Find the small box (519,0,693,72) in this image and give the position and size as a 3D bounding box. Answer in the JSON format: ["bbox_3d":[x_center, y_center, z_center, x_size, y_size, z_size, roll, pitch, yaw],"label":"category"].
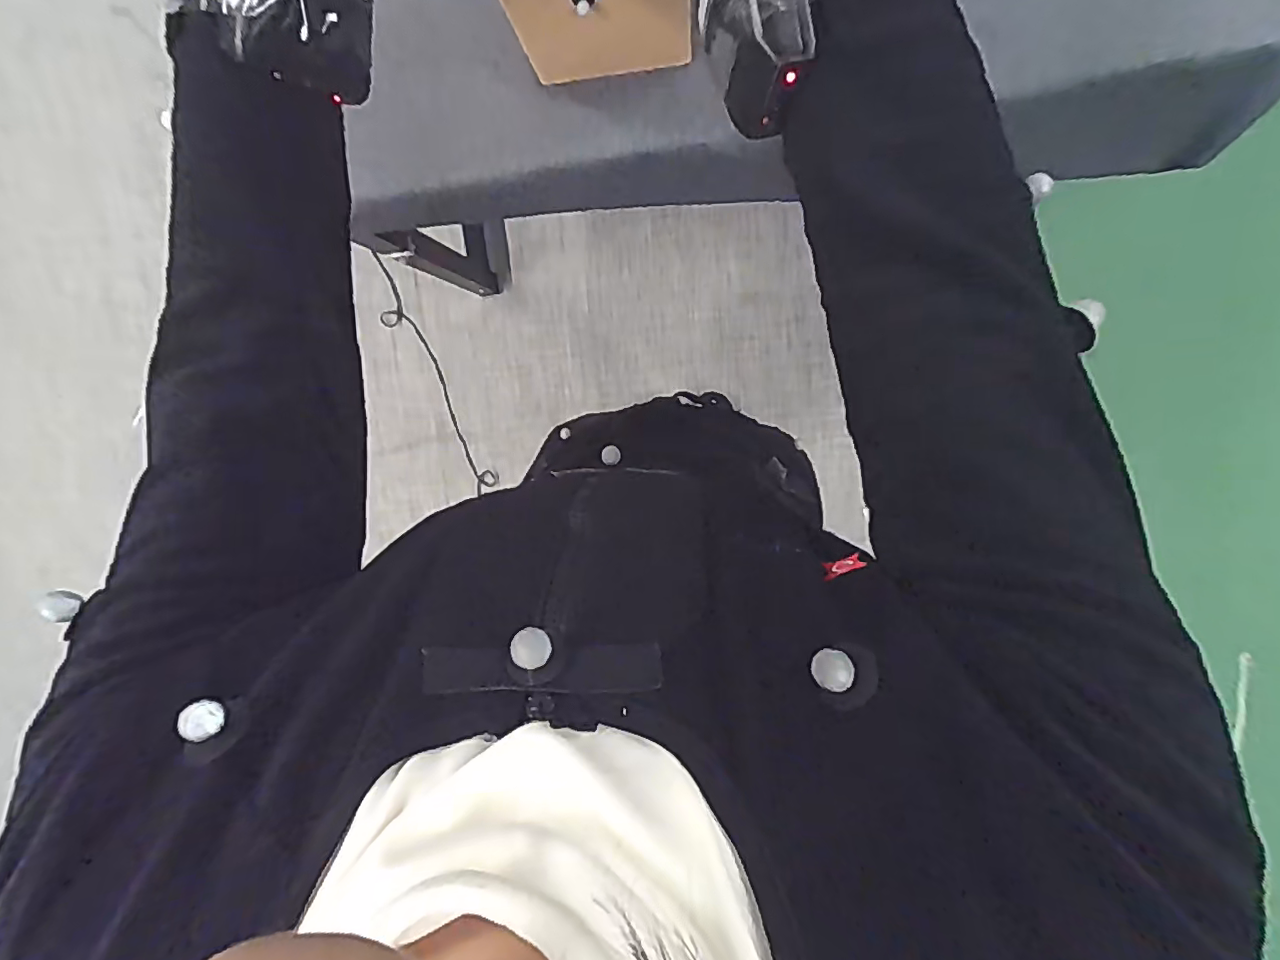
[{"bbox_3d":[-0.040,-0.550,0.543,0.179,0.176,0.168,-3,100,7],"label":"small box"}]
